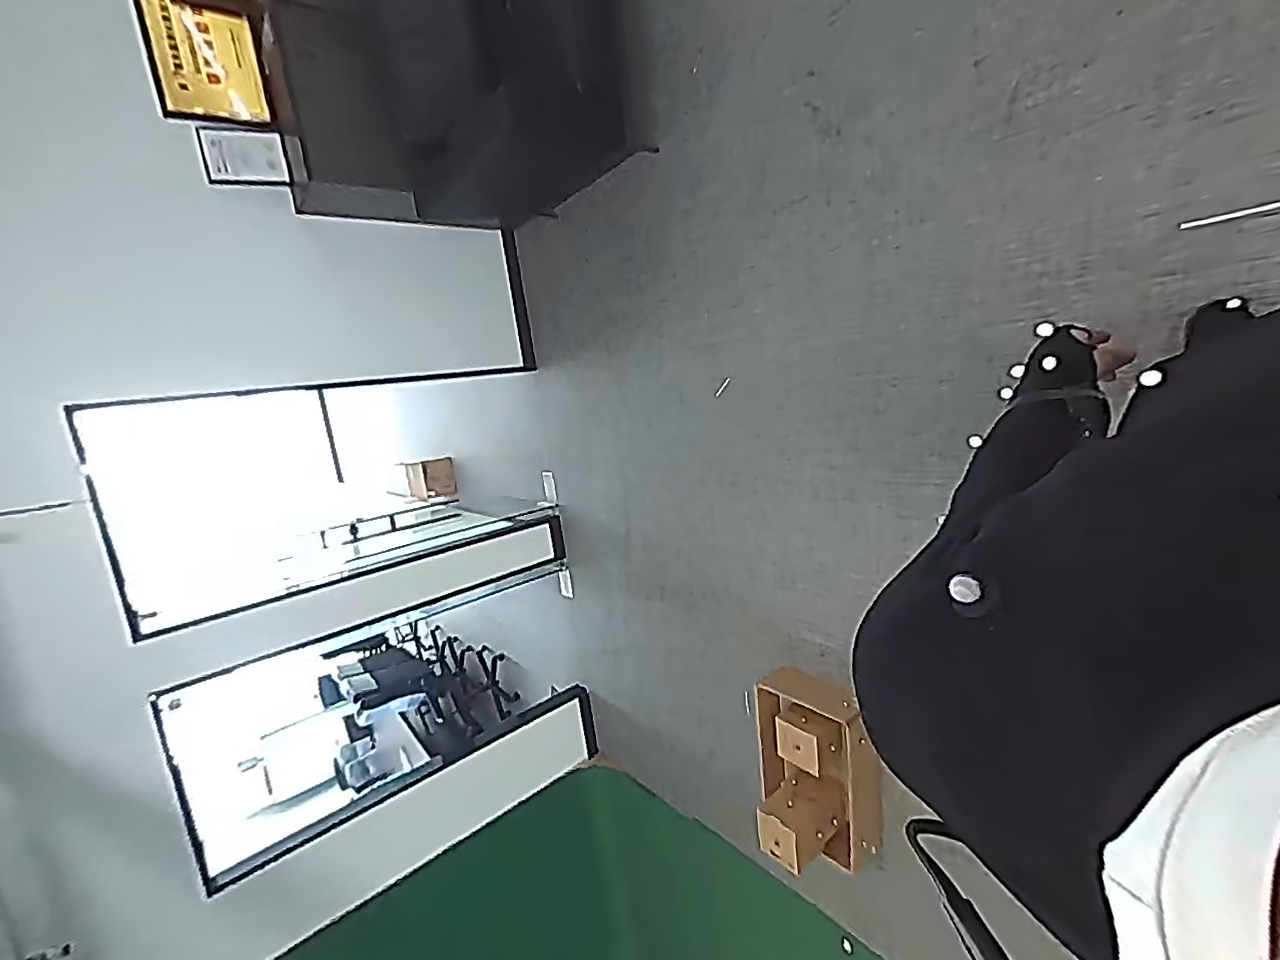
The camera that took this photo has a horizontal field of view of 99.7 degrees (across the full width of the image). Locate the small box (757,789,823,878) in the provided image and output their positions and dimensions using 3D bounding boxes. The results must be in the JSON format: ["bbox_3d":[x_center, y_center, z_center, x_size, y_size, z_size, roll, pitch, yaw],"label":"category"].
[{"bbox_3d":[0.542,1.261,1.946,0.168,0.176,0.179,6,105,51],"label":"small box"}]

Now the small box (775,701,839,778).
[{"bbox_3d":[0.625,0.954,2.007,0.179,0.176,0.168,8,108,50],"label":"small box"}]

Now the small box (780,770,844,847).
[{"bbox_3d":[0.660,1.233,2.057,0.179,0.176,0.168,6,106,51],"label":"small box"}]
